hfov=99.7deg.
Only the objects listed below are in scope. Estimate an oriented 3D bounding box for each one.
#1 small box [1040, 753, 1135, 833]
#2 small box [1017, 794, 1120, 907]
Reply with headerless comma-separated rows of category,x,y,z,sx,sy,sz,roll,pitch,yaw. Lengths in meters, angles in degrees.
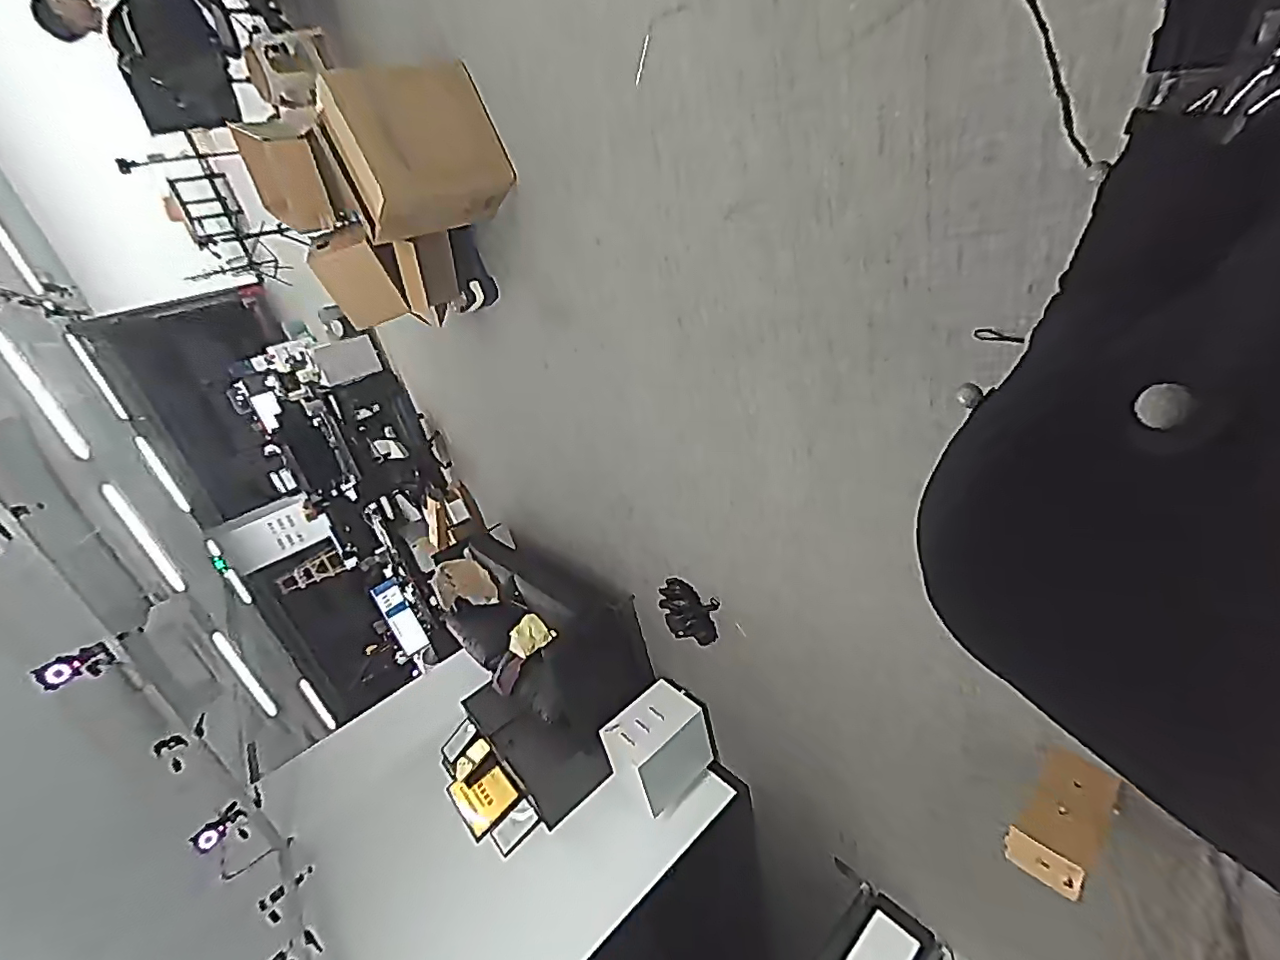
small box,1.322,0.952,1.603,0.179,0.176,0.168,16,128,51
small box,1.202,1.025,1.520,0.179,0.176,0.168,20,132,48
